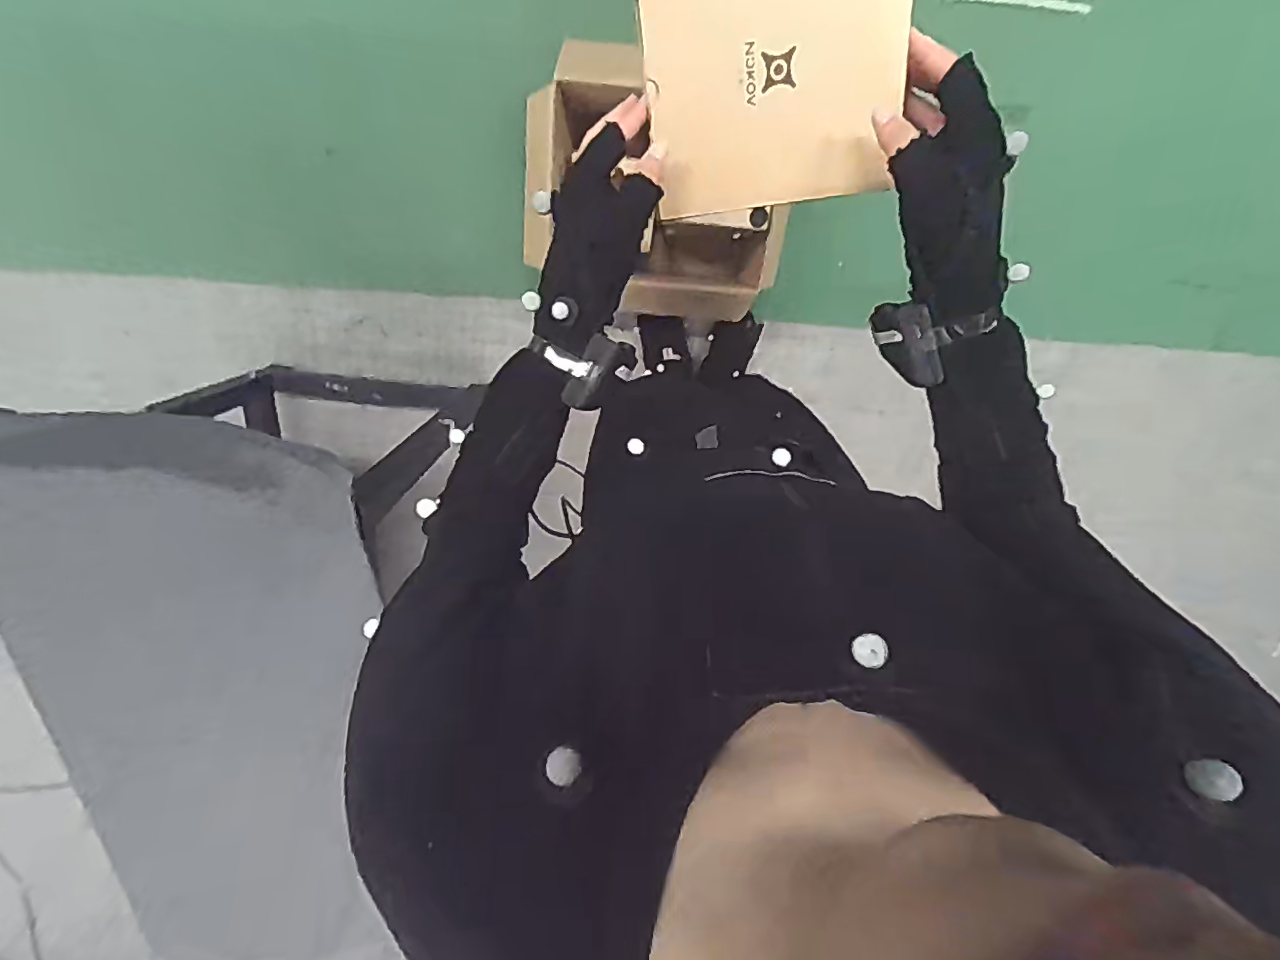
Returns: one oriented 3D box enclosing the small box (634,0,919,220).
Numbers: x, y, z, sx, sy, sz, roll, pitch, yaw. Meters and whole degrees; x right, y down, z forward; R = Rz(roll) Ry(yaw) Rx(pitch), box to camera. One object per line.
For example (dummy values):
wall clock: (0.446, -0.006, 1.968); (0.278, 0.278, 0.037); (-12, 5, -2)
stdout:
small box: (0.097, -0.312, 0.420); (0.179, 0.176, 0.168); (-3, 121, 11)
